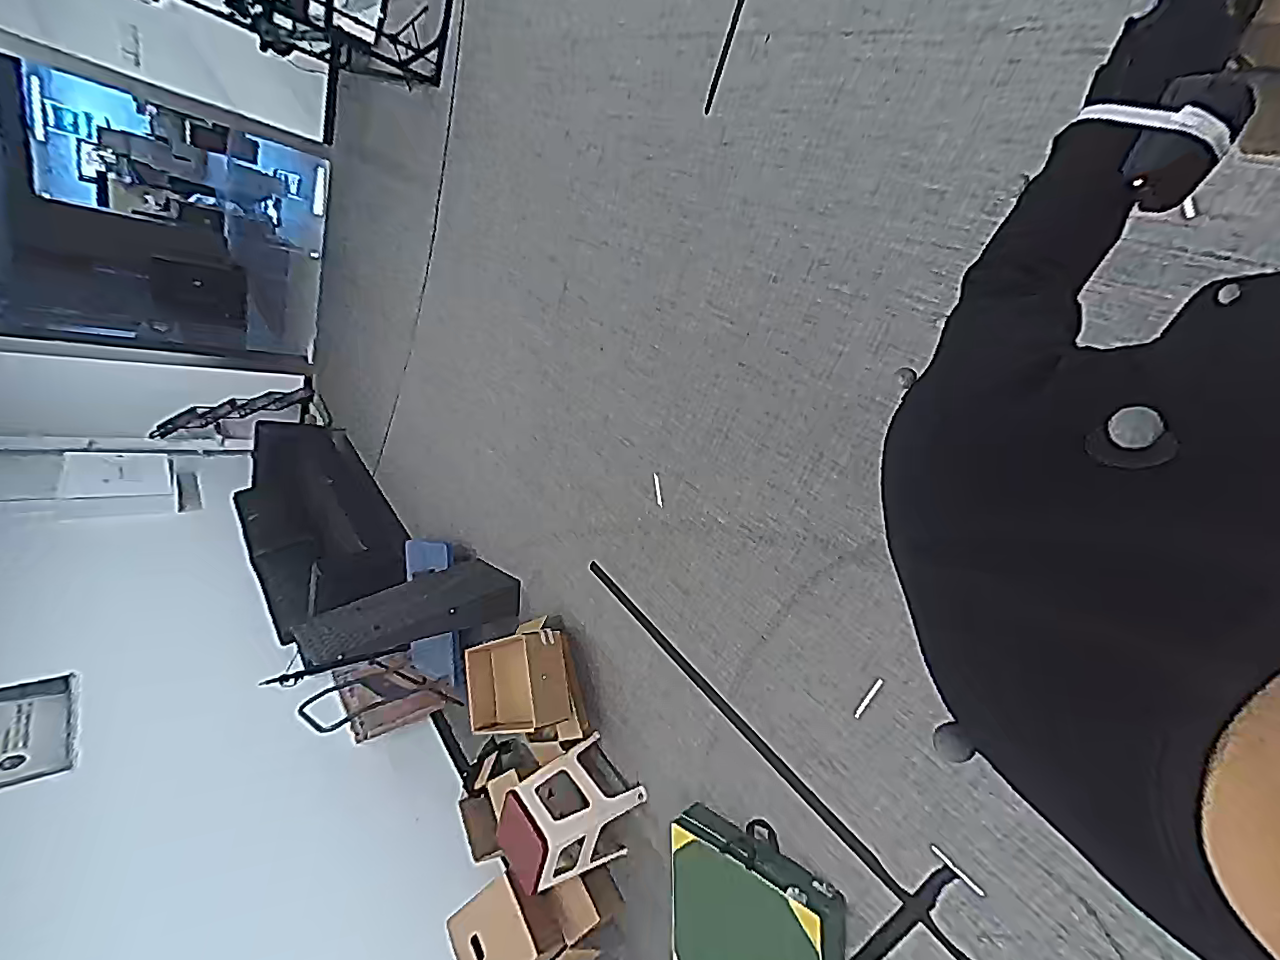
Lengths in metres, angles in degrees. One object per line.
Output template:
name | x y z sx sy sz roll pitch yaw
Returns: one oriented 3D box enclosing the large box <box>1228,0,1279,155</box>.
large box | 0.655 -0.367 0.274 0.408 0.320 0.320 31 125 39
